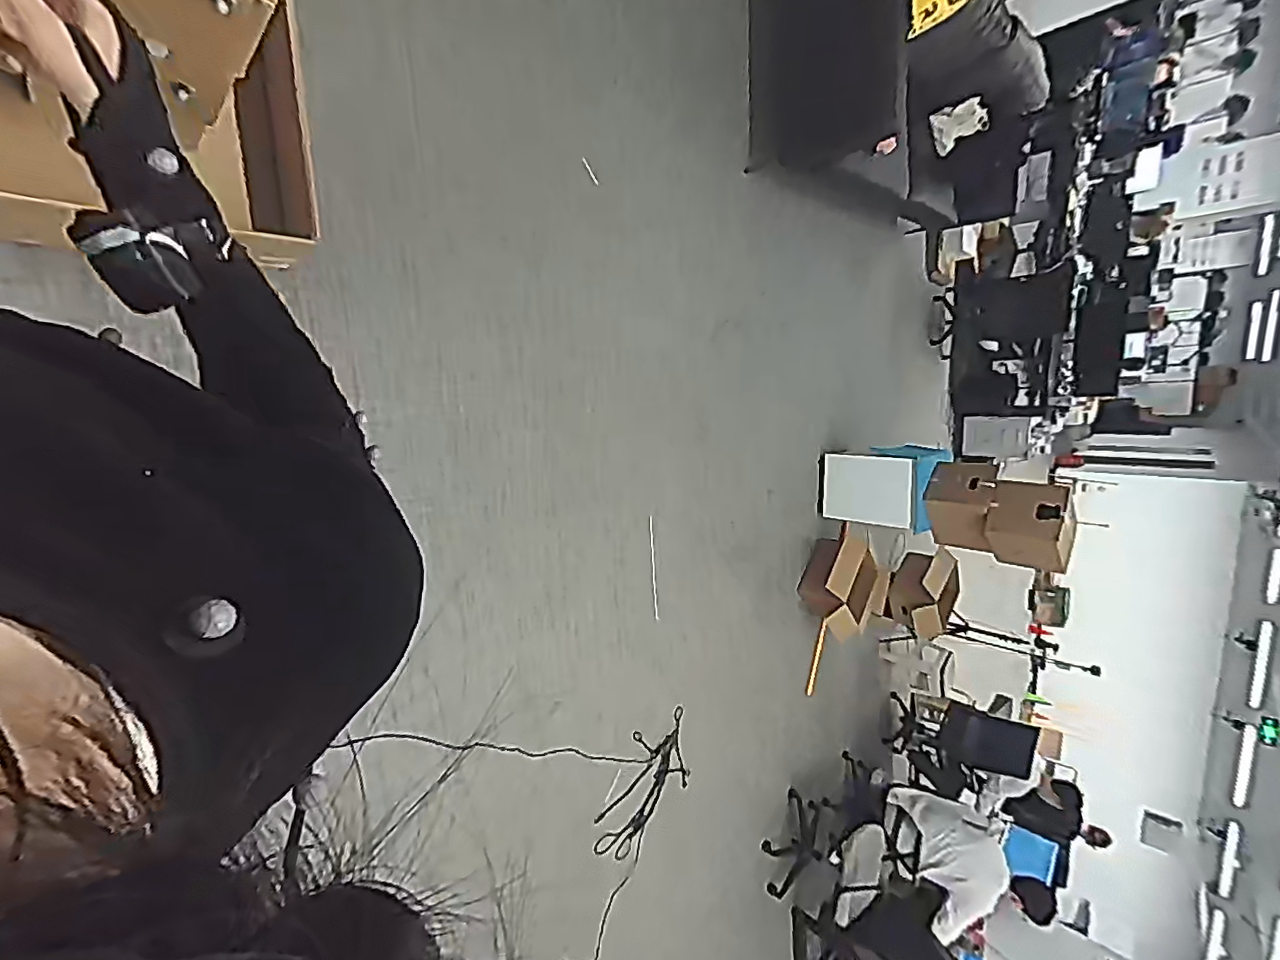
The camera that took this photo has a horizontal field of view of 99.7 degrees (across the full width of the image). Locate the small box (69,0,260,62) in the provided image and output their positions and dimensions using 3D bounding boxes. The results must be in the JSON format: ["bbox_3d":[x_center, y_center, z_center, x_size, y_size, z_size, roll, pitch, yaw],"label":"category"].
[{"bbox_3d":[-0.461,-0.538,0.497,0.179,0.176,0.168,-3,97,-47],"label":"small box"}]
